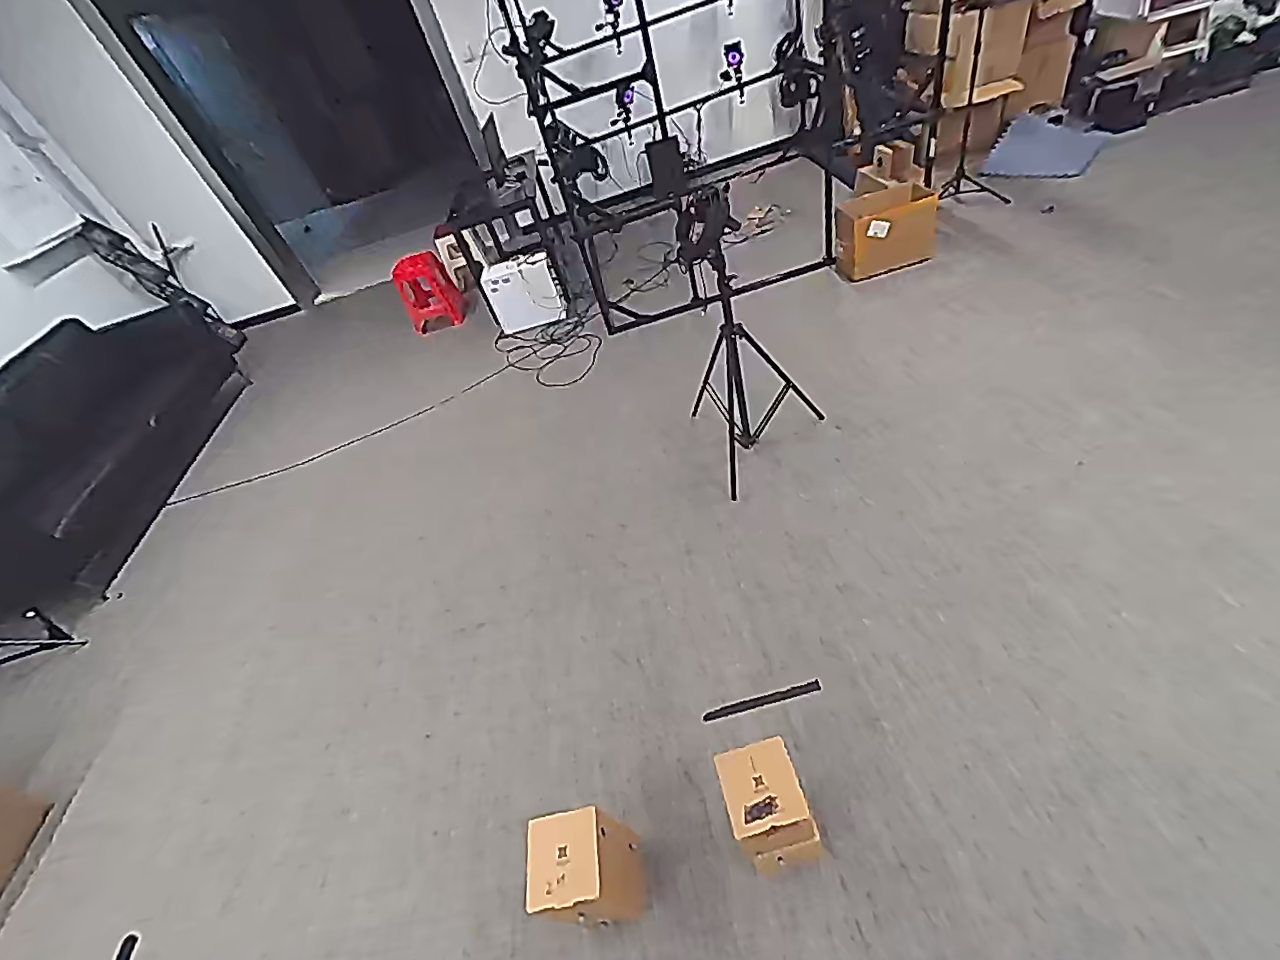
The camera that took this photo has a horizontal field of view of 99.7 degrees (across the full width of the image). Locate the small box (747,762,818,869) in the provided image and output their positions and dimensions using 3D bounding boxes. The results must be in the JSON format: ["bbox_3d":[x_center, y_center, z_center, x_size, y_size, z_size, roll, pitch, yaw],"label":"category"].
[{"bbox_3d":[0.329,0.832,1.334,0.168,0.176,0.179,-18,42,2],"label":"small box"}]

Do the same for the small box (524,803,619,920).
[{"bbox_3d":[-0.152,0.871,1.232,0.168,0.176,0.179,-16,43,6],"label":"small box"}]

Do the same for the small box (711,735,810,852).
[{"bbox_3d":[0.276,0.717,1.228,0.168,0.176,0.179,-18,41,2],"label":"small box"}]

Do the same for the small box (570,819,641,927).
[{"bbox_3d":[-0.103,0.979,1.345,0.168,0.176,0.179,-16,43,6],"label":"small box"}]
